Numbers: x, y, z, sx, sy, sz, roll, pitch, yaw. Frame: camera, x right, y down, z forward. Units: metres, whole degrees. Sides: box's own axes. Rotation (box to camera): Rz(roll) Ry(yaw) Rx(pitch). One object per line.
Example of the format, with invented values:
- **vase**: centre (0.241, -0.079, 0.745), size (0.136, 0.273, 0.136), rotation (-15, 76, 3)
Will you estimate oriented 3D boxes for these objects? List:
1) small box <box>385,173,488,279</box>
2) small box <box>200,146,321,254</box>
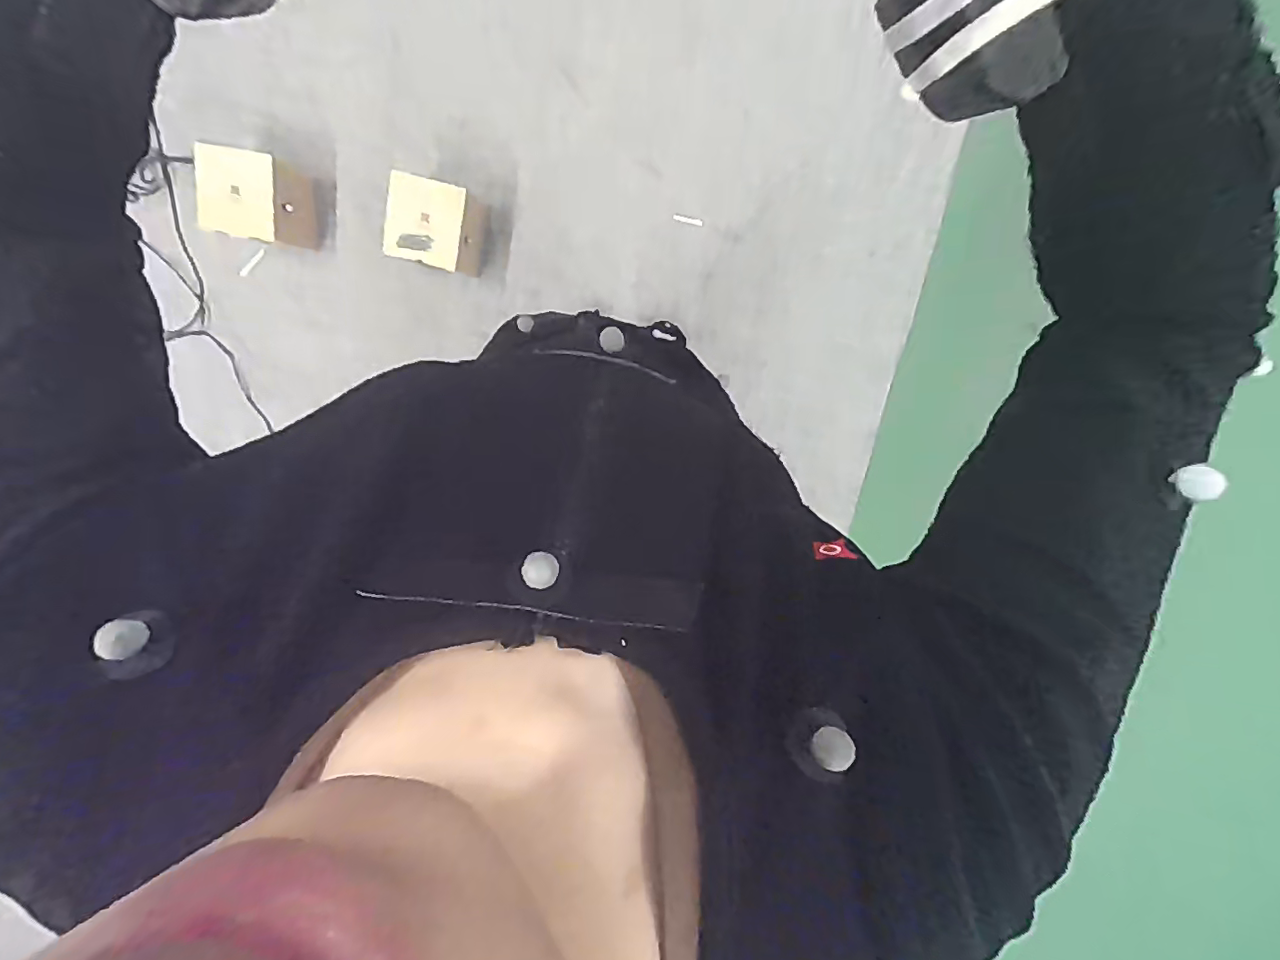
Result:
- **small box**: centre (-0.466, -0.578, 1.256), size (0.168, 0.176, 0.179), rotation (14, 105, -3)
- **small box**: centre (-0.864, -0.636, 1.246), size (0.168, 0.176, 0.179), rotation (9, 106, -1)
